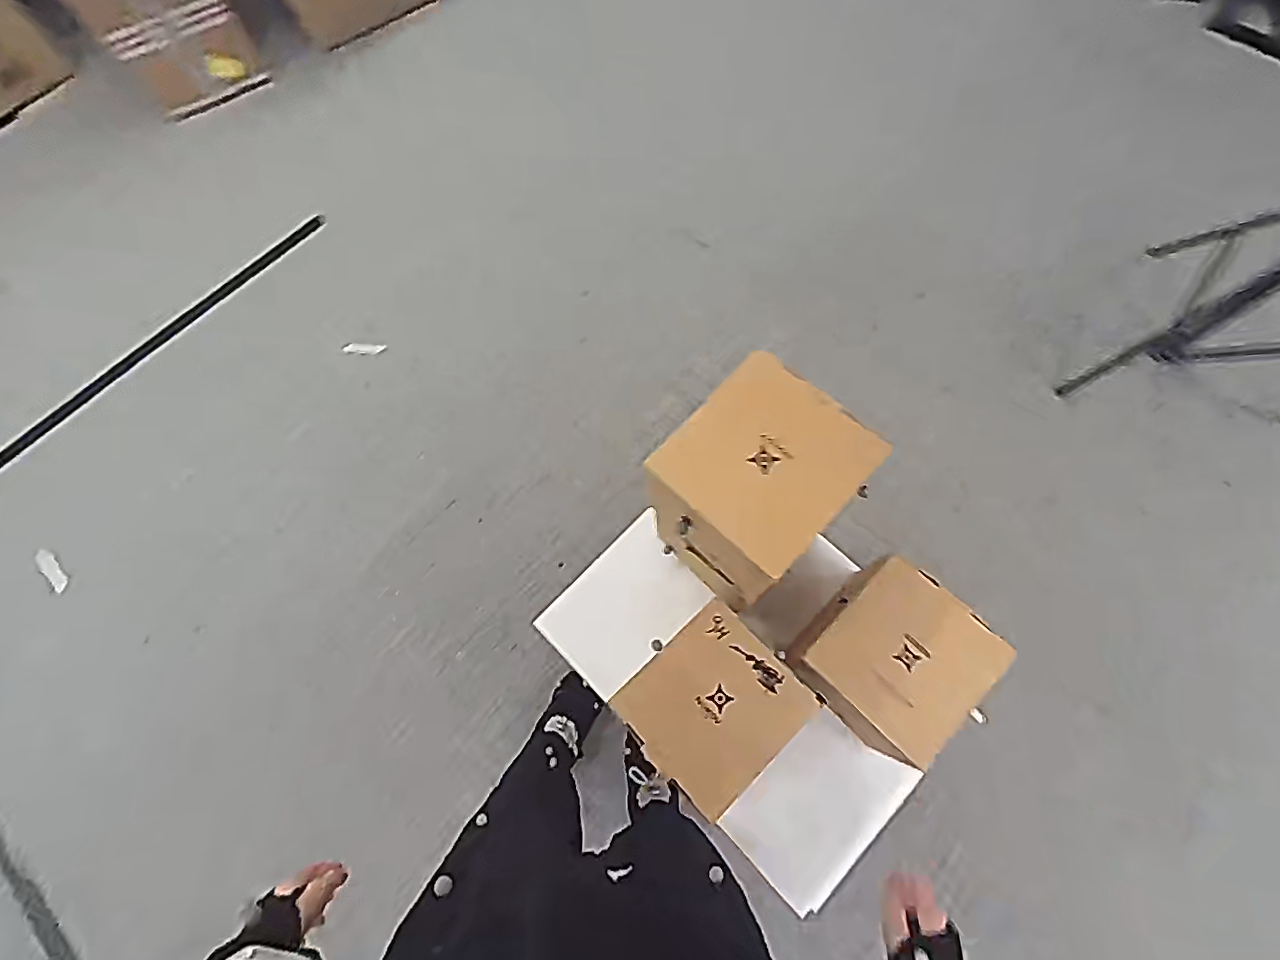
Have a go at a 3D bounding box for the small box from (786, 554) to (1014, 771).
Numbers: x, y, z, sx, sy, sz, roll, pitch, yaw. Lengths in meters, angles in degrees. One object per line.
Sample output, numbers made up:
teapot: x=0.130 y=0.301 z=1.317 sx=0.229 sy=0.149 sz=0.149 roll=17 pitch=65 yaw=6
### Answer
small box: x=0.308 y=0.222 z=0.684 sx=0.168 sy=0.176 sz=0.179 roll=43 pitch=80 yaw=16

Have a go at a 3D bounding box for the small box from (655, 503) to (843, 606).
small box: x=0.140 y=0.055 z=0.745 sx=0.179 sy=0.176 sz=0.168 roll=-42 pitch=75 yaw=-11

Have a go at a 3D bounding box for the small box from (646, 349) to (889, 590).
small box: x=0.126 y=0.001 z=0.592 sx=0.168 sy=0.176 sz=0.179 roll=42 pitch=78 yaw=14

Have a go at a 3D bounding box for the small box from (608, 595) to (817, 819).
small box: x=0.085 y=0.271 z=0.676 sx=0.179 sy=0.176 sz=0.168 roll=-42 pitch=75 yaw=-11
